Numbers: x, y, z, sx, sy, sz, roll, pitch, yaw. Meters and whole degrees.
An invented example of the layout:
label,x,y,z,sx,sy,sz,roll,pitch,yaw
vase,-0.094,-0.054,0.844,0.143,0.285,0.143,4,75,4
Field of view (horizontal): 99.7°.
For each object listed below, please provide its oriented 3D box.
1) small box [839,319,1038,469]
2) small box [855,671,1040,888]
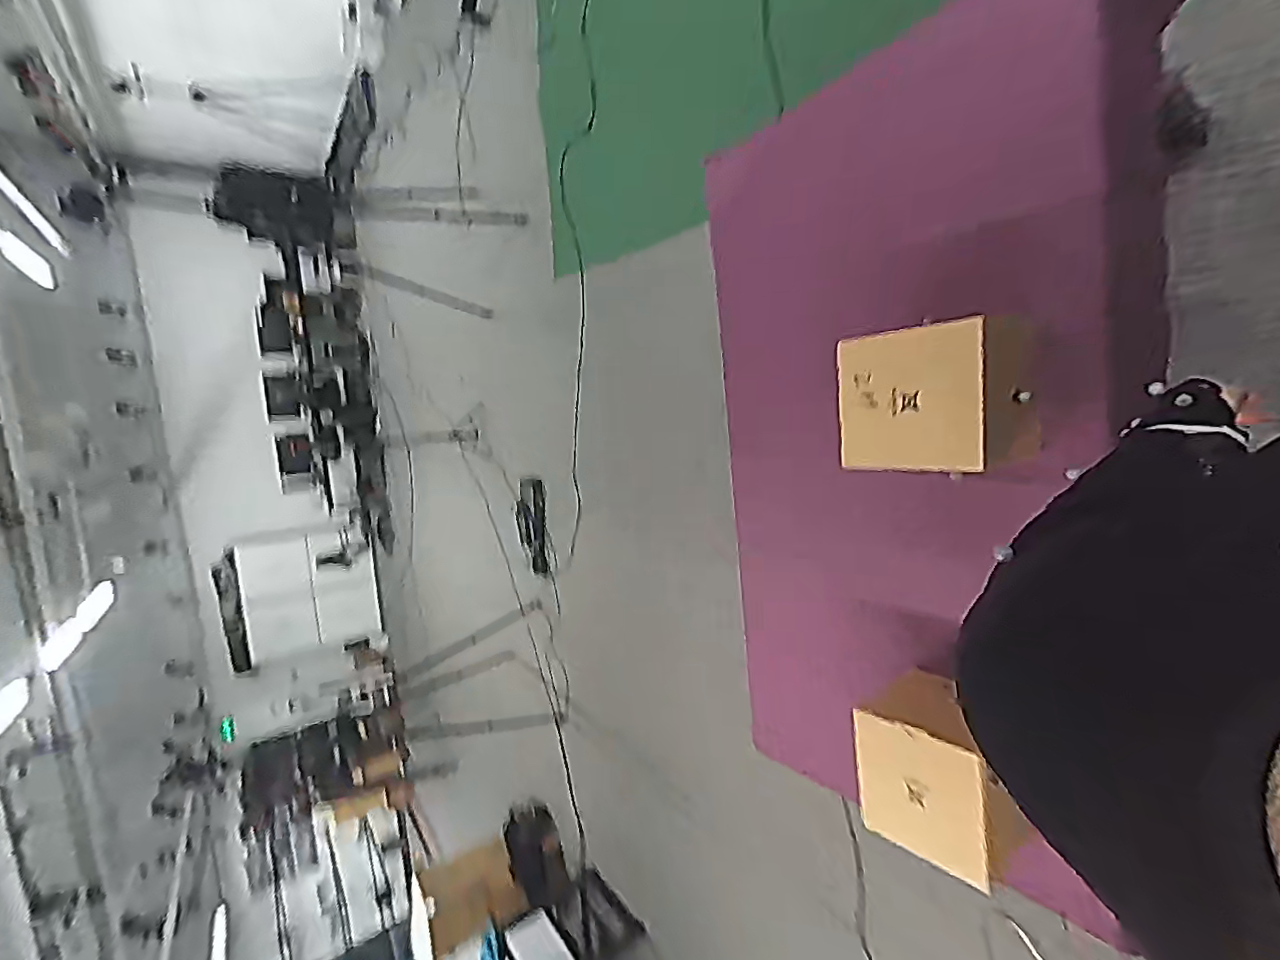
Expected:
label,x,y,z,sx,sy,sz,roll,pitch,yaw
small box,0.383,-0.107,0.695,0.179,0.176,0.168,5,100,54
small box,0.424,0.391,0.745,0.168,0.176,0.179,-2,95,55
